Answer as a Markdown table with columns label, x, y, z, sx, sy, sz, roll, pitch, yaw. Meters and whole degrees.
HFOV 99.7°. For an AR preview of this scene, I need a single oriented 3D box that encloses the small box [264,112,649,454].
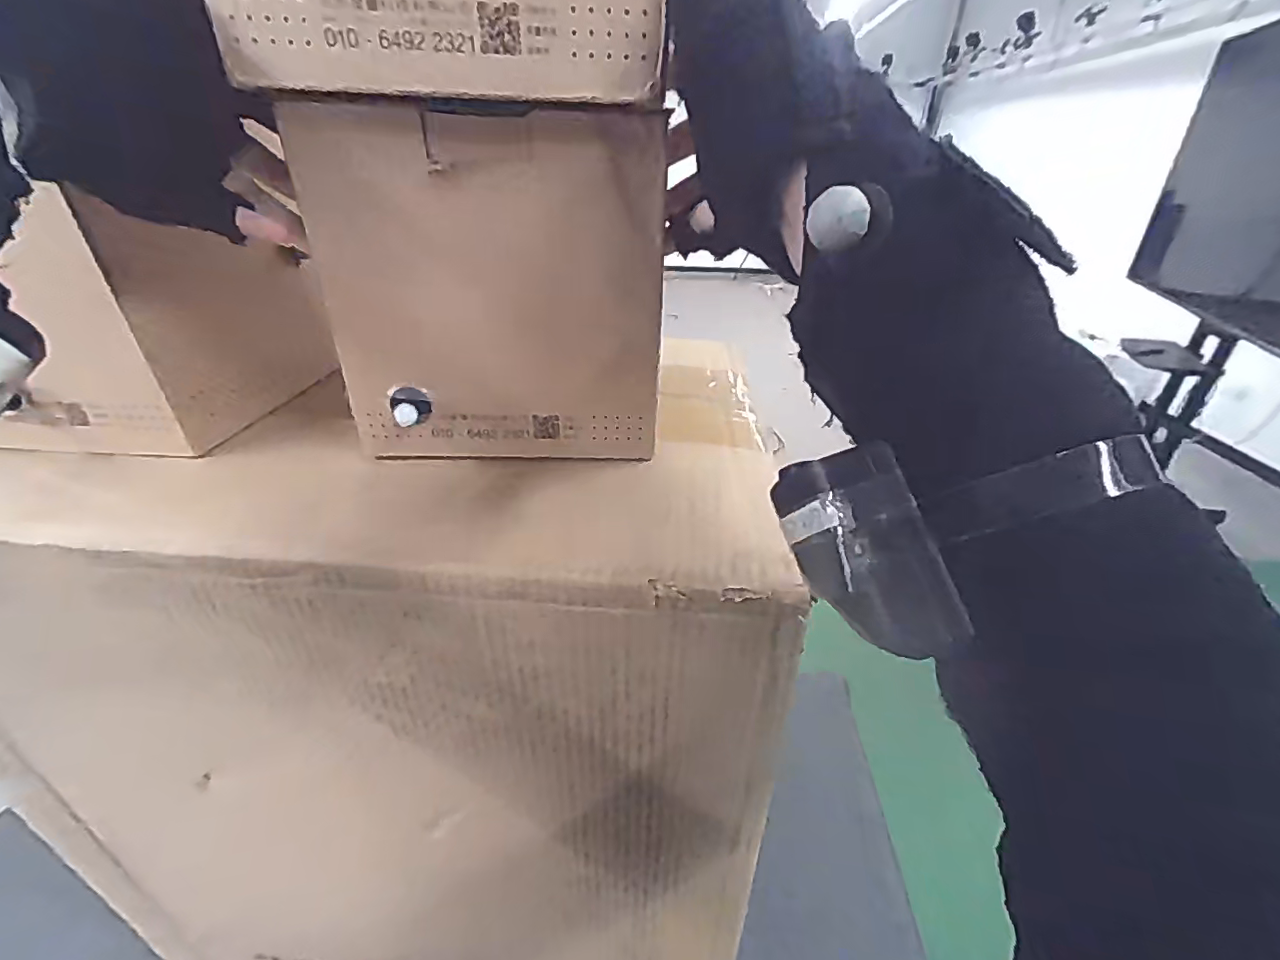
| label | x | y | z | sx | sy | sz | roll | pitch | yaw |
| --- | --- | --- | --- | --- | --- | --- | --- | --- | --- |
| small box | -0.079 | -0.125 | 0.339 | 0.168 | 0.176 | 0.179 | 0 | 31 | -2 |
